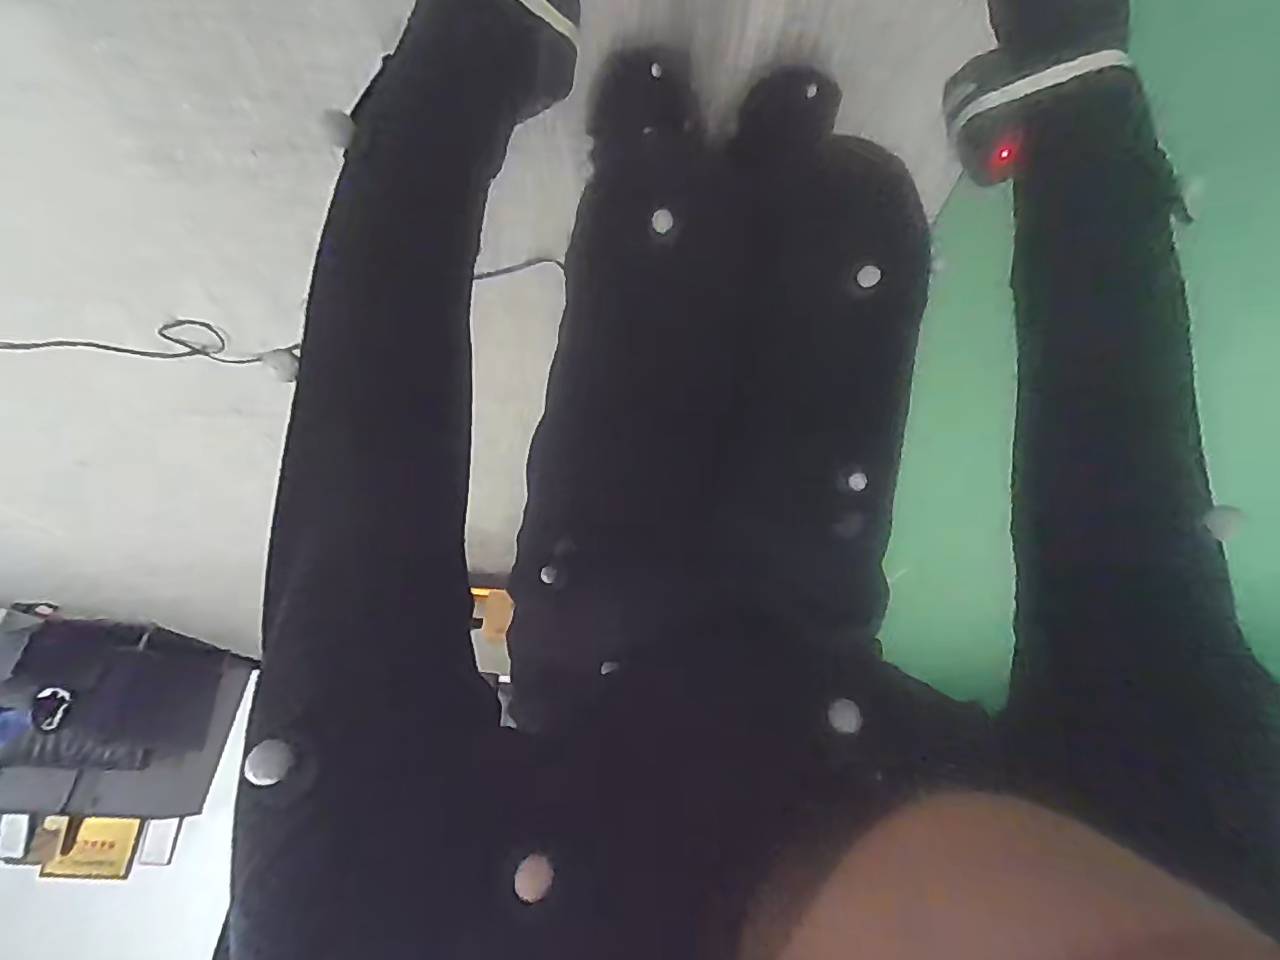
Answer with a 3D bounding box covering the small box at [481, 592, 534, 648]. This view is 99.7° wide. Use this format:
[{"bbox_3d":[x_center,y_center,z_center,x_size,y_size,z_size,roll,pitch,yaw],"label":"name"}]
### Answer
[{"bbox_3d":[-0.525,0.560,2.162,0.168,0.176,0.179,5,149,-2],"label":"small box"}]
